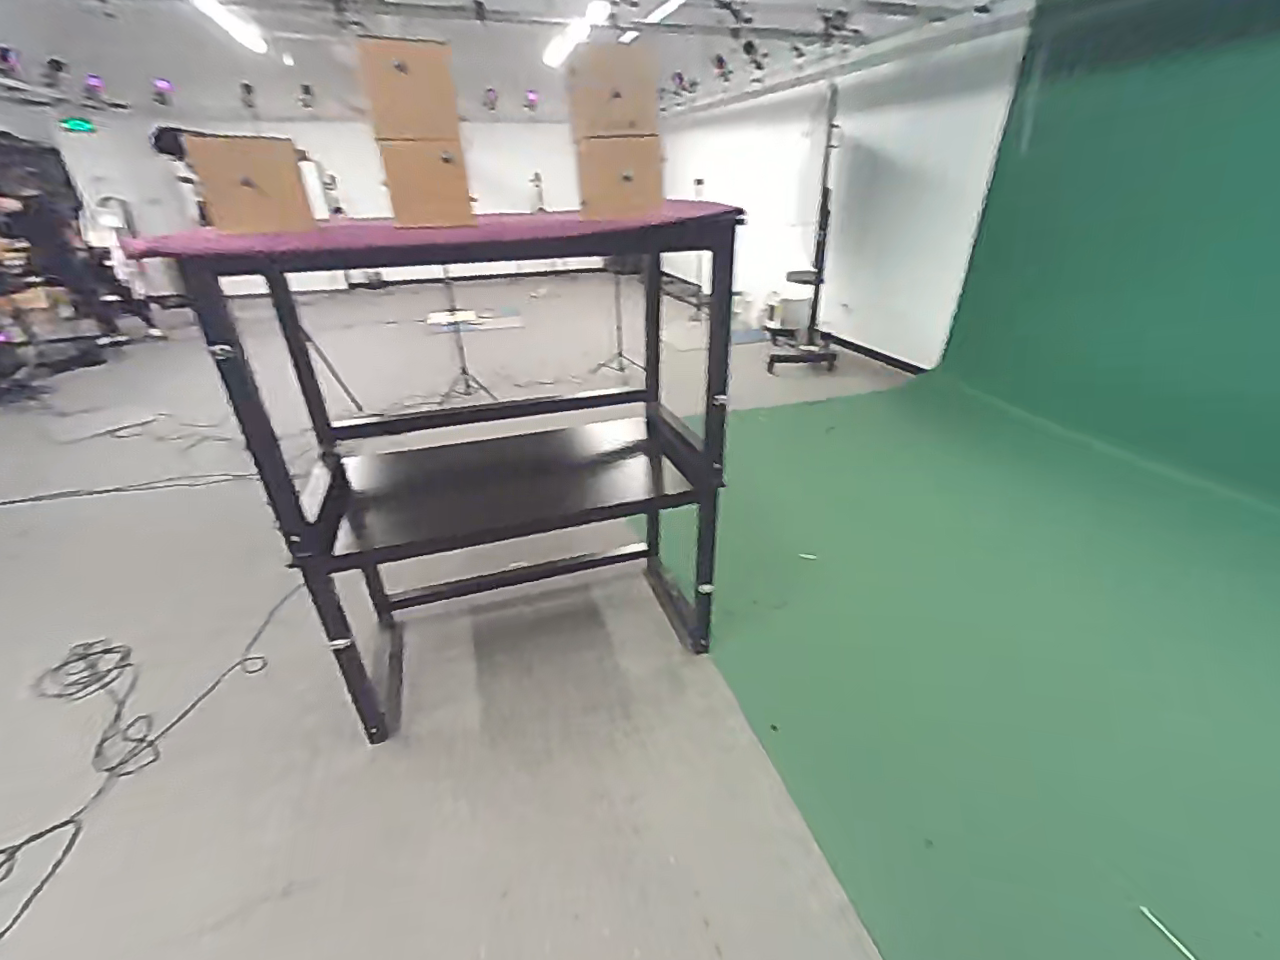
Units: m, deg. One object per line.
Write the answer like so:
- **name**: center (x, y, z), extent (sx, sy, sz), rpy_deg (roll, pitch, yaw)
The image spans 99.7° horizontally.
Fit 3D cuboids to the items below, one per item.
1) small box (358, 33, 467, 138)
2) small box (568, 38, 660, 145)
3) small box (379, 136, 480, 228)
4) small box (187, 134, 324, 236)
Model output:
- **small box**: center (-0.467, -0.807, 1.136), extent (0.179, 0.176, 0.168), rpy_deg (-8, 28, -15)
- **small box**: center (-0.057, -0.859, 1.206), extent (0.168, 0.176, 0.179), rpy_deg (-10, 28, -13)
- **small box**: center (-0.462, -0.659, 1.208), extent (0.179, 0.176, 0.168), rpy_deg (-9, 29, -14)
- **small box**: center (-0.763, -0.595, 1.095), extent (0.179, 0.176, 0.168), rpy_deg (-15, 33, -23)
